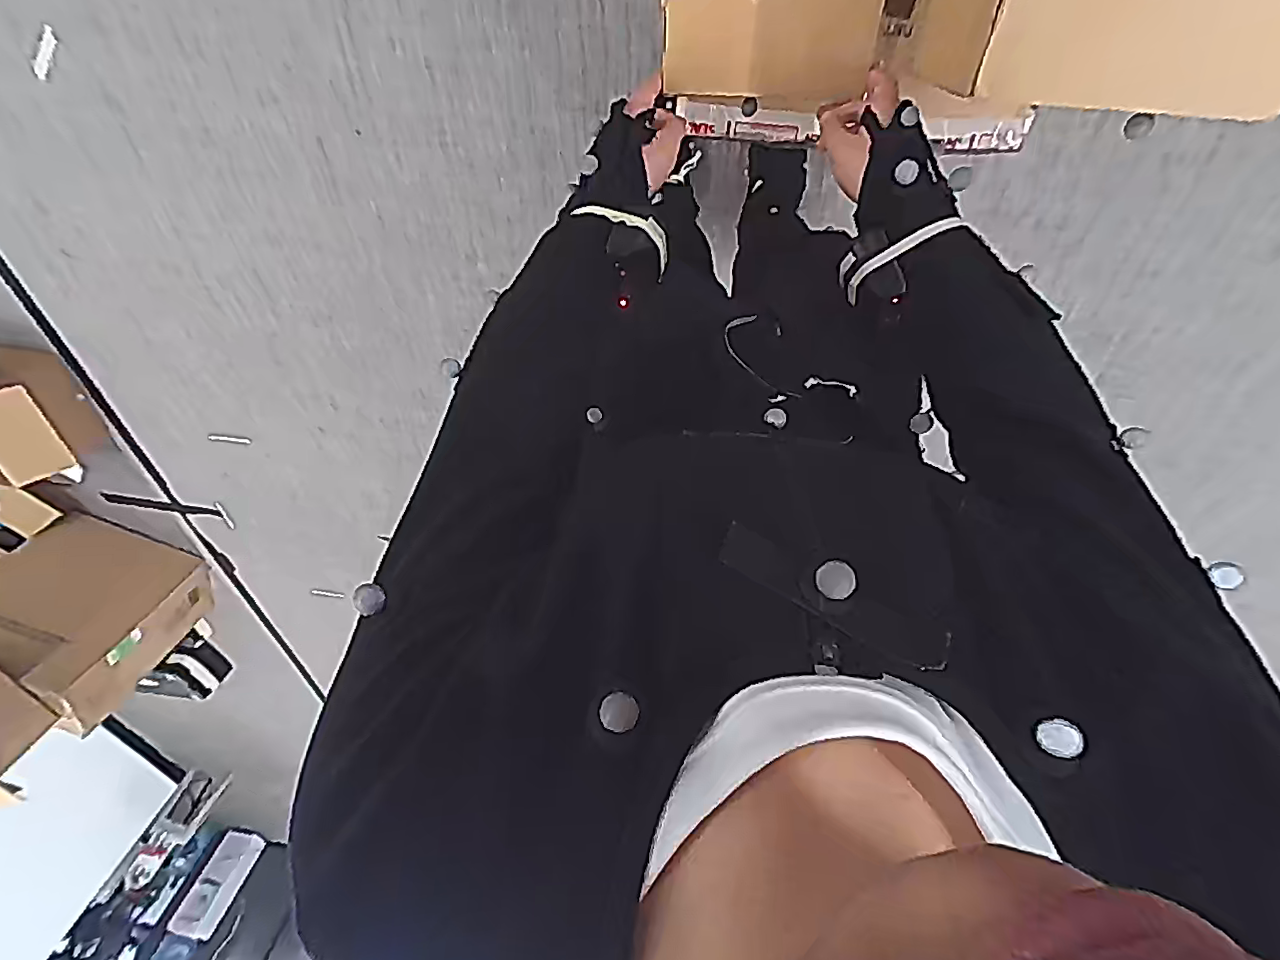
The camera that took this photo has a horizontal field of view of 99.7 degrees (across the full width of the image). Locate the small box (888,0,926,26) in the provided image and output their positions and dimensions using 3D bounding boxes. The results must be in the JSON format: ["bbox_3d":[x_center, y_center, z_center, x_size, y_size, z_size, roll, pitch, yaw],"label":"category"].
[{"bbox_3d":[0.322,-0.455,0.425,0.179,0.176,0.168,9,133,1],"label":"small box"}]

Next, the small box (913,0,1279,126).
[{"bbox_3d":[0.296,-0.328,0.320,0.179,0.176,0.168,7,132,4],"label":"small box"}]
